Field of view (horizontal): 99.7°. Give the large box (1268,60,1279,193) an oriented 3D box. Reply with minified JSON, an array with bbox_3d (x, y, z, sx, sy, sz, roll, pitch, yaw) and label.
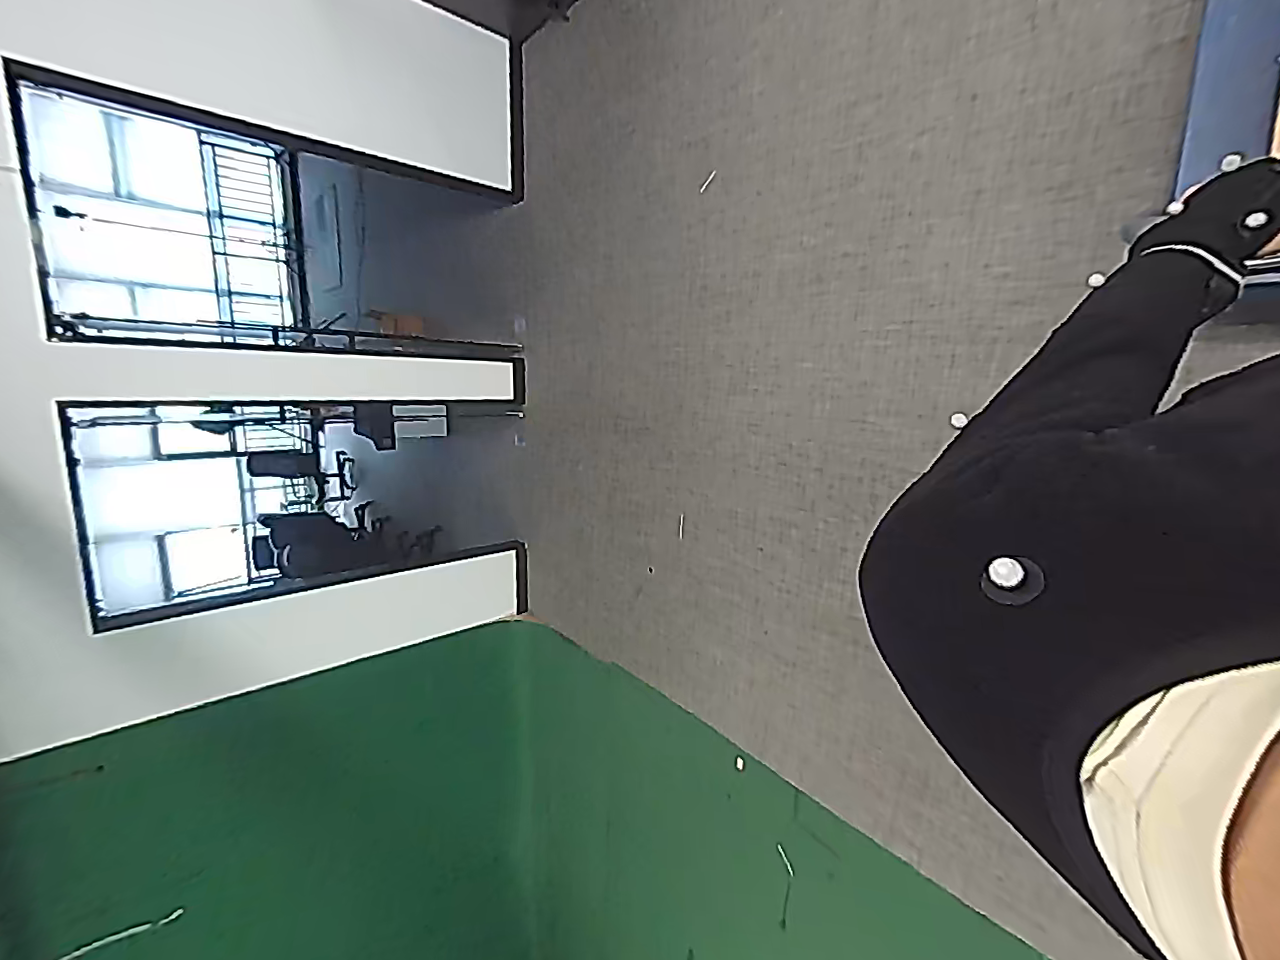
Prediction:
[{"bbox_3d":[1.106,-0.645,0.717,0.320,0.320,0.408,11,103,49],"label":"large box"}]
